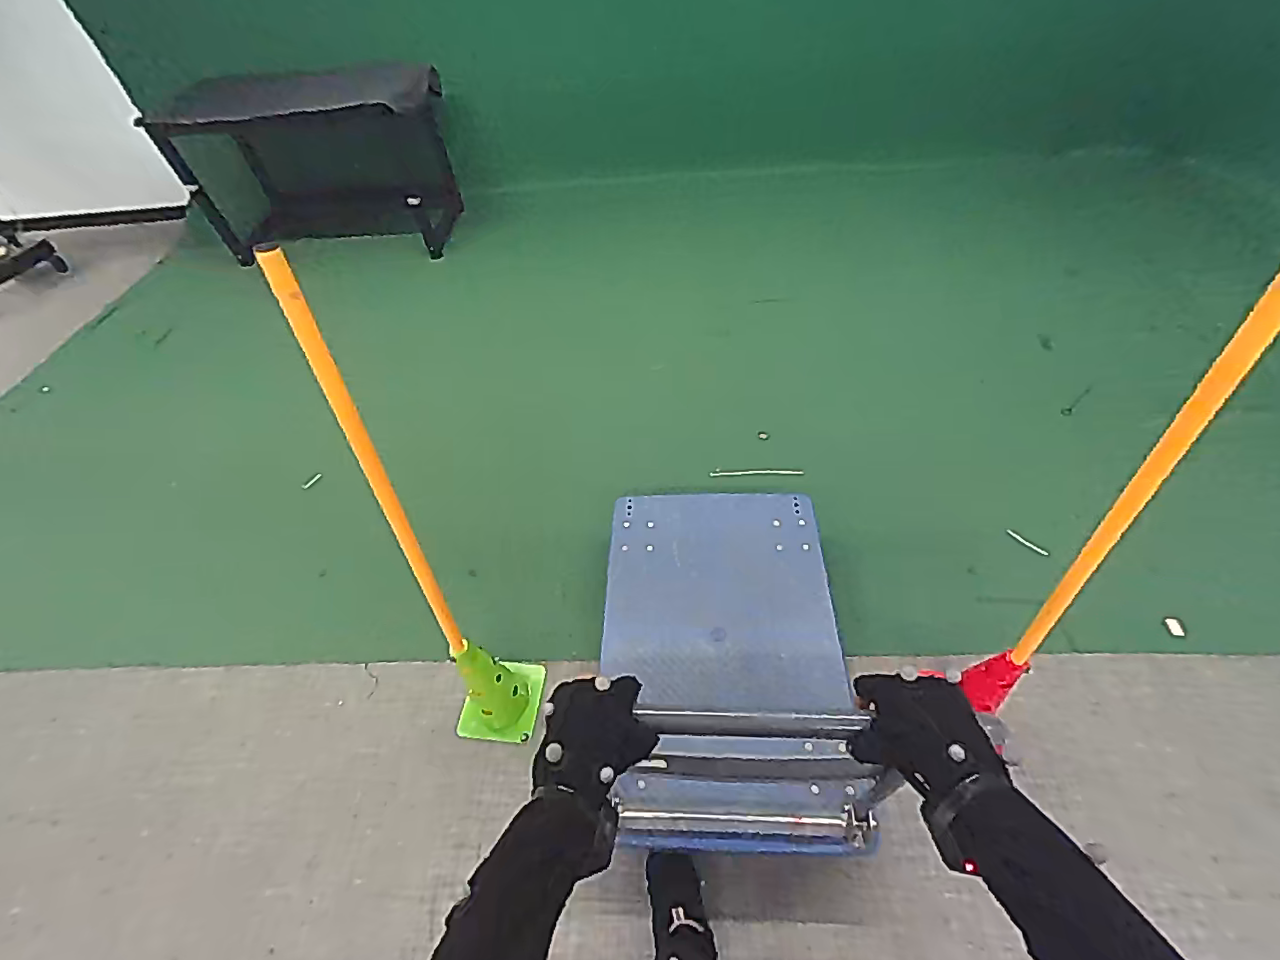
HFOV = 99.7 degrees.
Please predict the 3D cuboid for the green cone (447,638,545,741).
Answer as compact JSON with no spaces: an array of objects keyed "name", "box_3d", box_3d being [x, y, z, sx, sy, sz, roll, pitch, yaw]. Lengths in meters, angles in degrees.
[{"name":"green cone","box_3d":[-0.380,0.474,1.310,0.202,0.368,0.200,1,50,8]}]
